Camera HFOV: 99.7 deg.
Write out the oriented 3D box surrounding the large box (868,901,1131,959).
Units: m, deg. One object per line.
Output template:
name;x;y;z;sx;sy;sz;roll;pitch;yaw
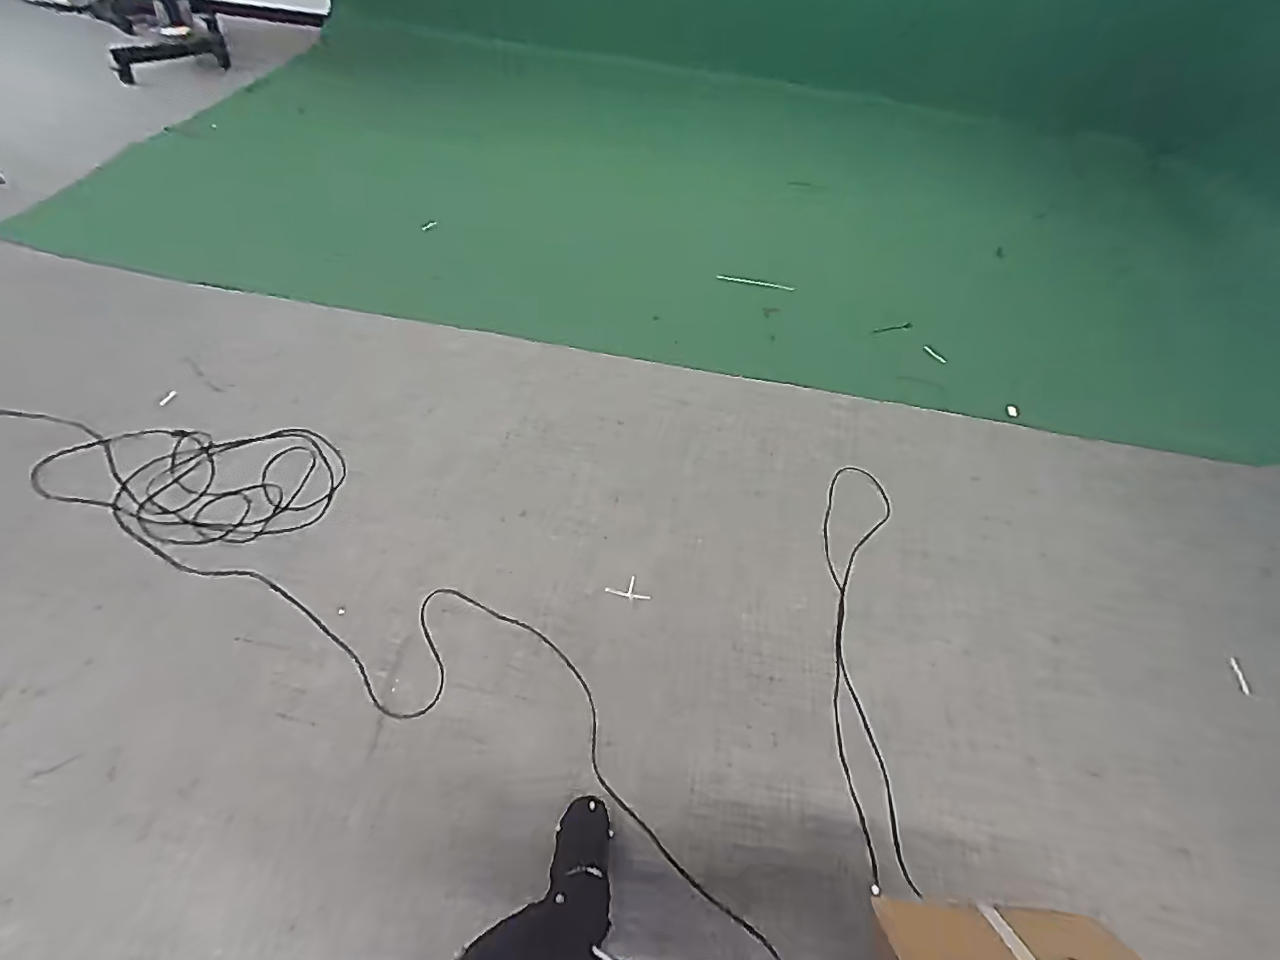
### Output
large box;0.464;0.746;0.565;0.320;0.408;0.320;2;83;6
